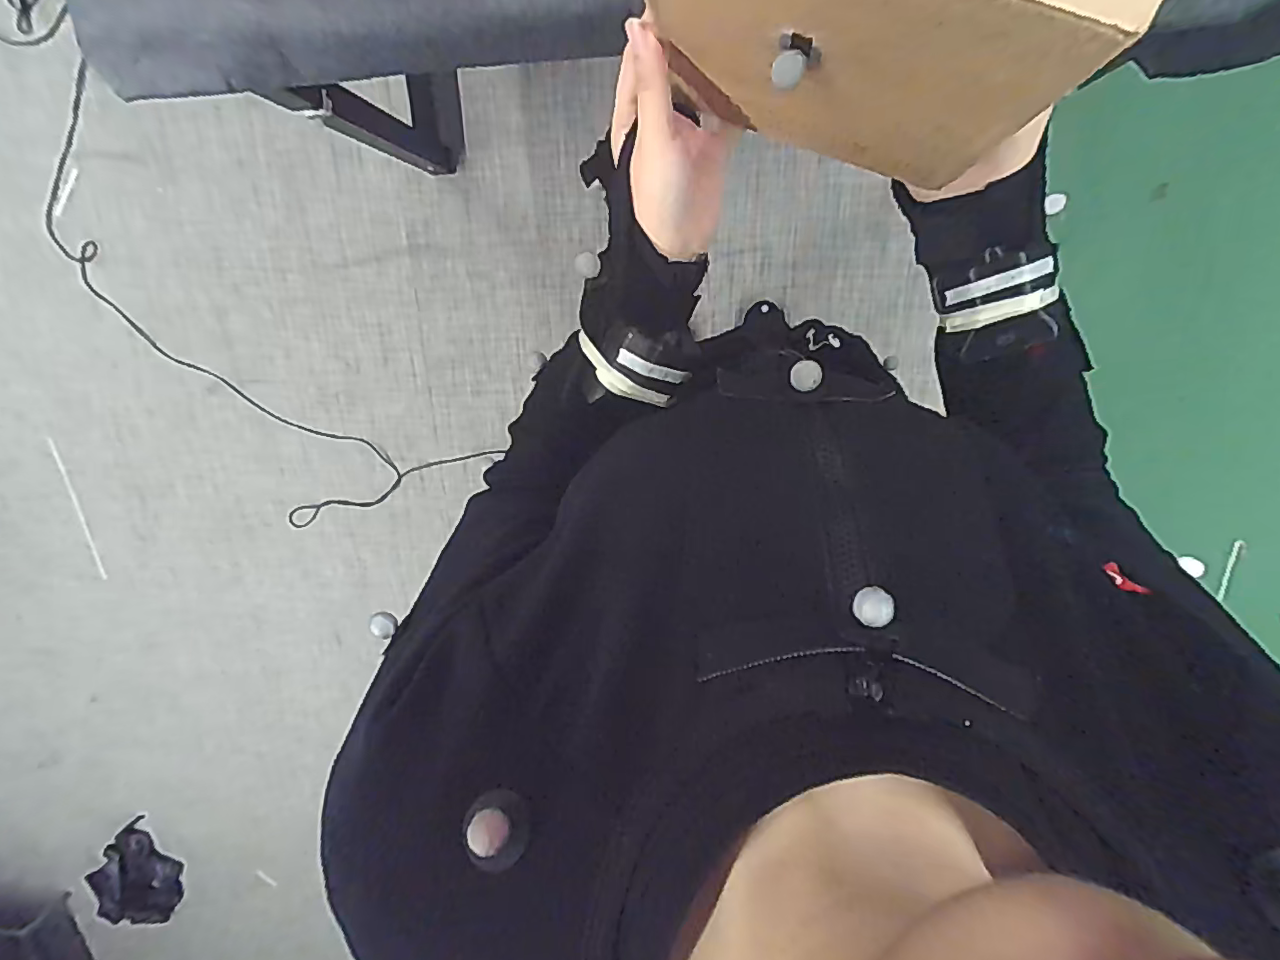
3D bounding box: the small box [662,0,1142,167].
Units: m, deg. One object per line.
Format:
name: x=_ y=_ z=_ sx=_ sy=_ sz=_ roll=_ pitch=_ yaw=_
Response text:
small box: x=0.111 y=-0.260 z=0.224 sx=0.179 sy=0.176 sz=0.168 roll=21 pitch=107 yaw=5
